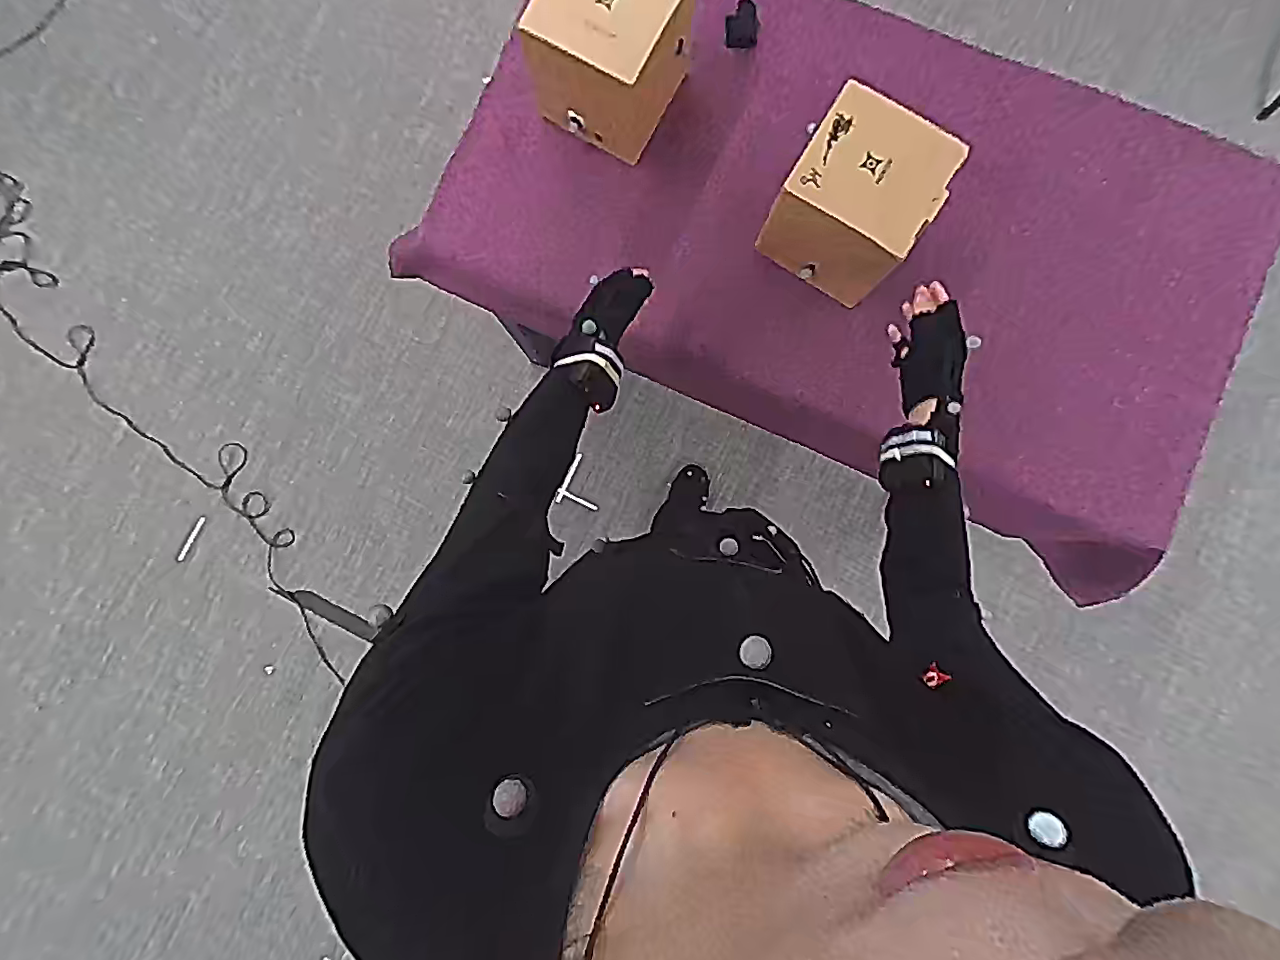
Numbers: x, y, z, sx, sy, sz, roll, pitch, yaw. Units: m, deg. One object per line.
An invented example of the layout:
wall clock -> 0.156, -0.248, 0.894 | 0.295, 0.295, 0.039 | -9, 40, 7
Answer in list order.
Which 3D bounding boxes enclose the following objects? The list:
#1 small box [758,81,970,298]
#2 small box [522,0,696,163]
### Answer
small box -> 0.289, -0.375, 0.739 | 0.179, 0.176, 0.168 | 32, 88, 1
small box -> -0.037, -0.593, 0.747 | 0.168, 0.176, 0.179 | 28, 89, 2
